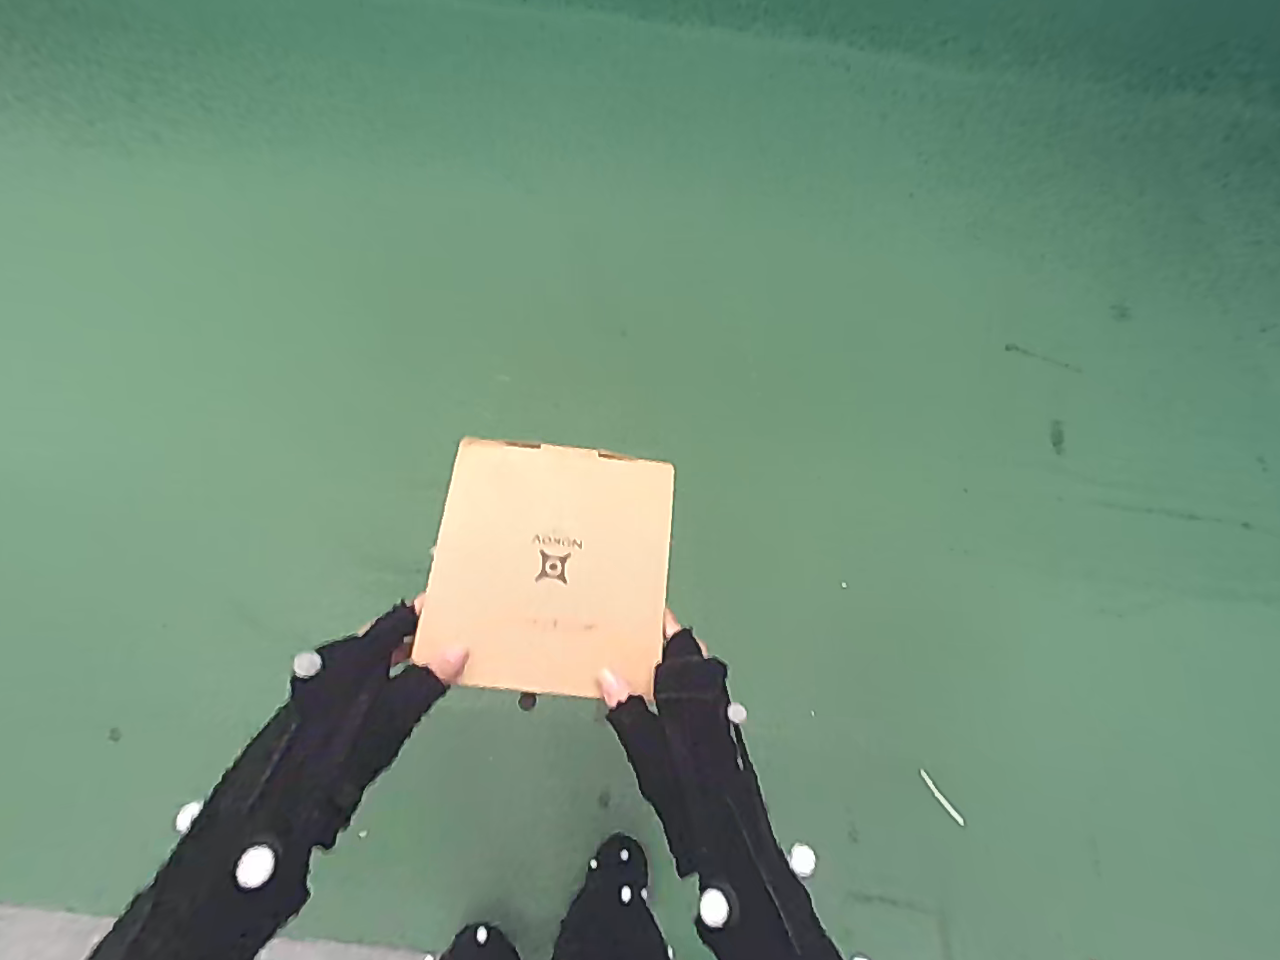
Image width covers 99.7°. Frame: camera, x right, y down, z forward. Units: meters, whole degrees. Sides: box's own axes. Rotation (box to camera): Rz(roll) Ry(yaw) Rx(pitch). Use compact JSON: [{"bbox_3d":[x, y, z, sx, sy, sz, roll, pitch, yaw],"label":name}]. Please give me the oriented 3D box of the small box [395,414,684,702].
[{"bbox_3d":[-0.067,0.073,0.431,0.168,0.176,0.179,8,69,-4],"label":"small box"}]
